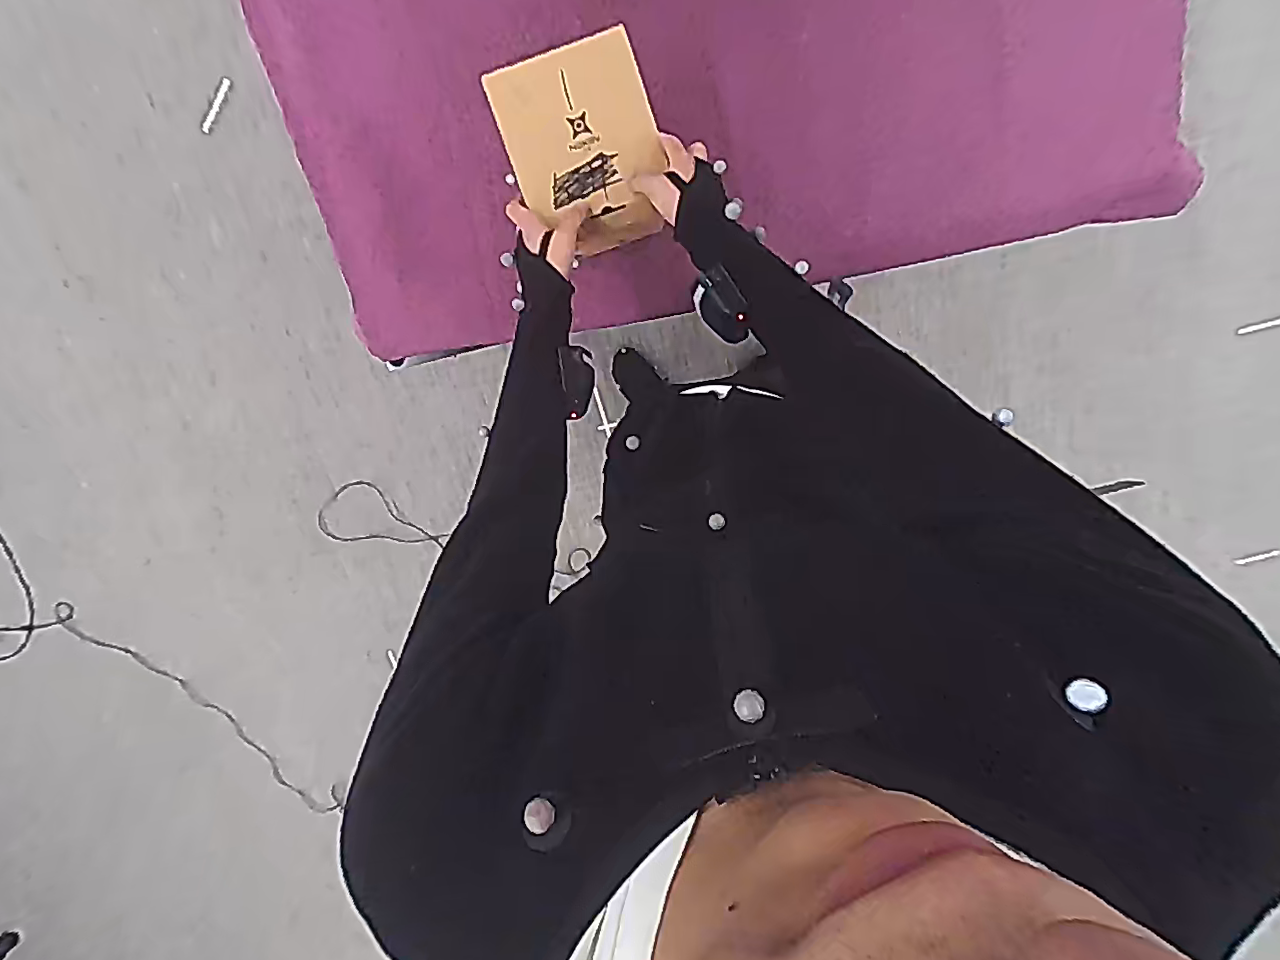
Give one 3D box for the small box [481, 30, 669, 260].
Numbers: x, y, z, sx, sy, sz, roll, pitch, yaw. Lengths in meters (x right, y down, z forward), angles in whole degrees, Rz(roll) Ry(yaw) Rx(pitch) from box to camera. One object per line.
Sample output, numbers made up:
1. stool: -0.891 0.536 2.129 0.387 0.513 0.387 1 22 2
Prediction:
1. small box: -0.072 -0.390 0.672 0.168 0.176 0.179 -19 100 0
